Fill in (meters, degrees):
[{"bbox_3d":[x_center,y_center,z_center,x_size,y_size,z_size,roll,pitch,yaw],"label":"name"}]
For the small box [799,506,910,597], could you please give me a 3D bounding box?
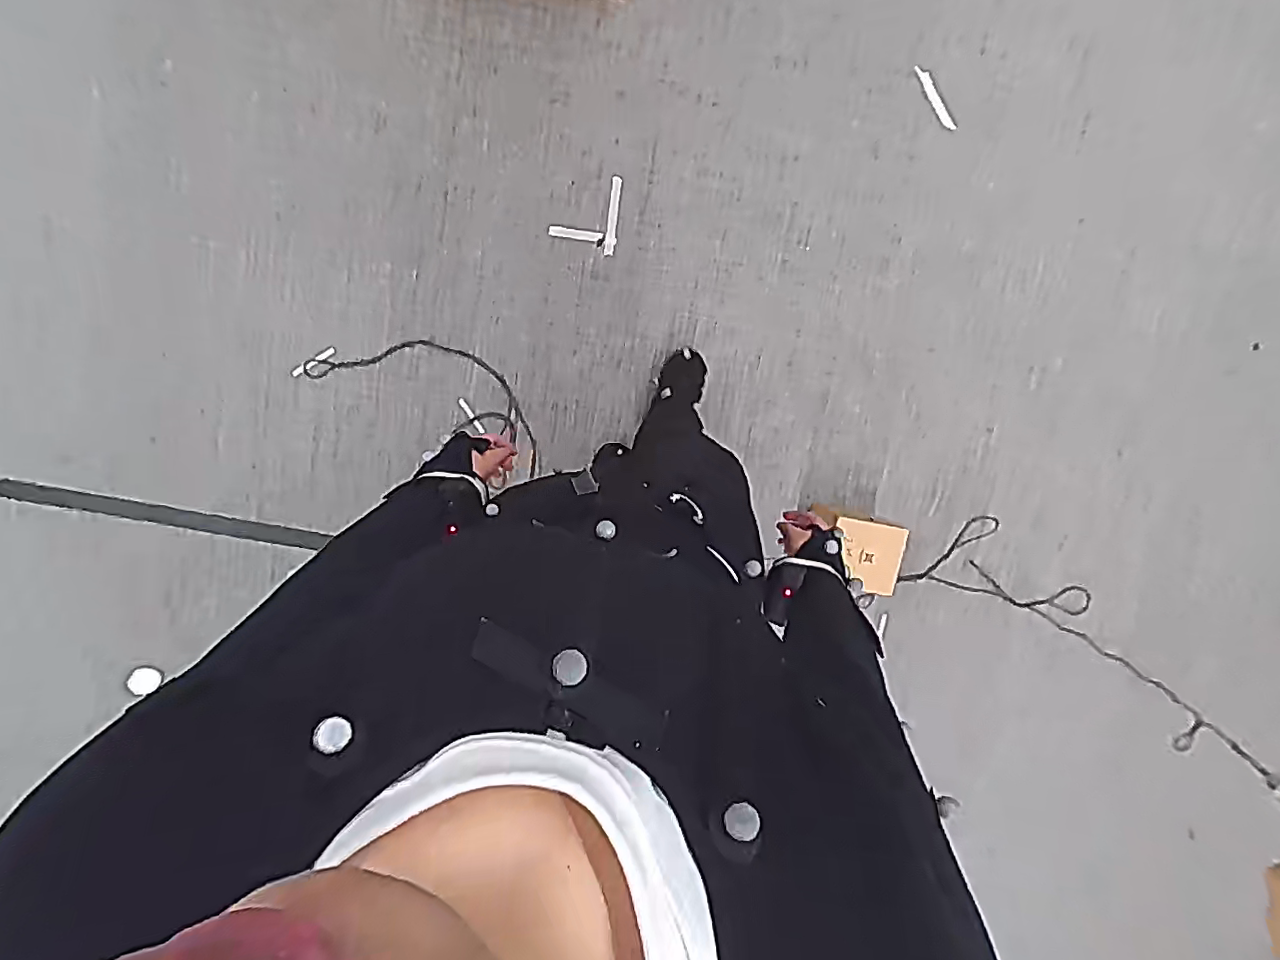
[{"bbox_3d":[0.516,0.167,1.324,0.179,0.176,0.168,11,97,-4],"label":"small box"}]
